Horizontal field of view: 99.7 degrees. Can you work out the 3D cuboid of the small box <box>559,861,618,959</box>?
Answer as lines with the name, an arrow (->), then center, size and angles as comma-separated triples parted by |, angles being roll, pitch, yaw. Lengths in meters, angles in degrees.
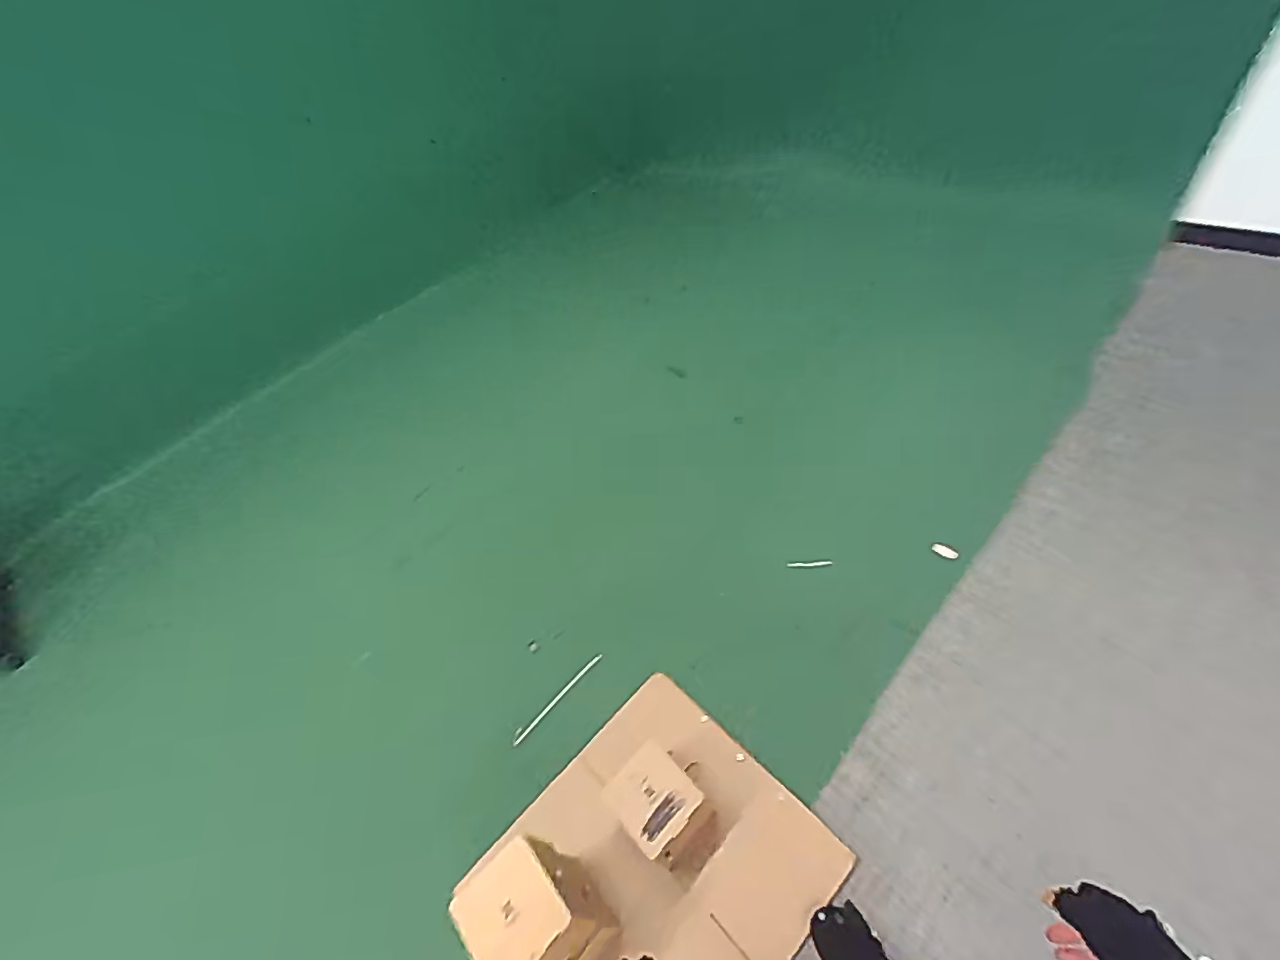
small box -> -0.170, 0.915, 1.106 | 0.168, 0.176, 0.179 | -41, 51, -18

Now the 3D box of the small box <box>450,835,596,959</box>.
small box -> -0.209, 0.803, 0.994 | 0.168, 0.176, 0.179 | -40, 52, -18
